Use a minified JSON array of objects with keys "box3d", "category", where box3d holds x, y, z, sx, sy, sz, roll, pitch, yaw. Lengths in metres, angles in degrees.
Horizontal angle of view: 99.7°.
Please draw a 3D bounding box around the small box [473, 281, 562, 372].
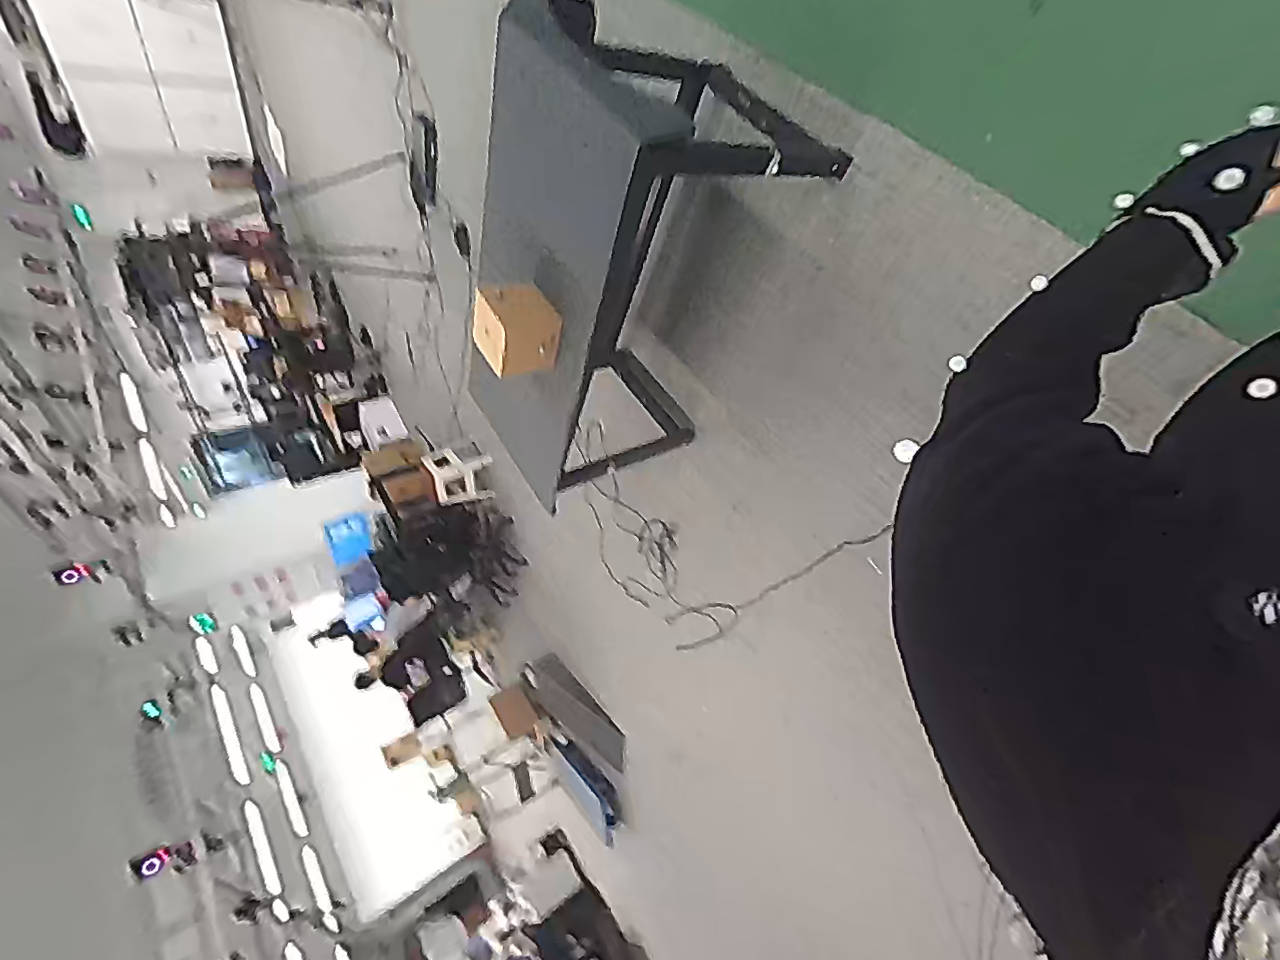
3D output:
[{"box3d":[-0.334,-0.422,1.468,0.179,0.176,0.168,53,144,23],"category":"small box"}]
